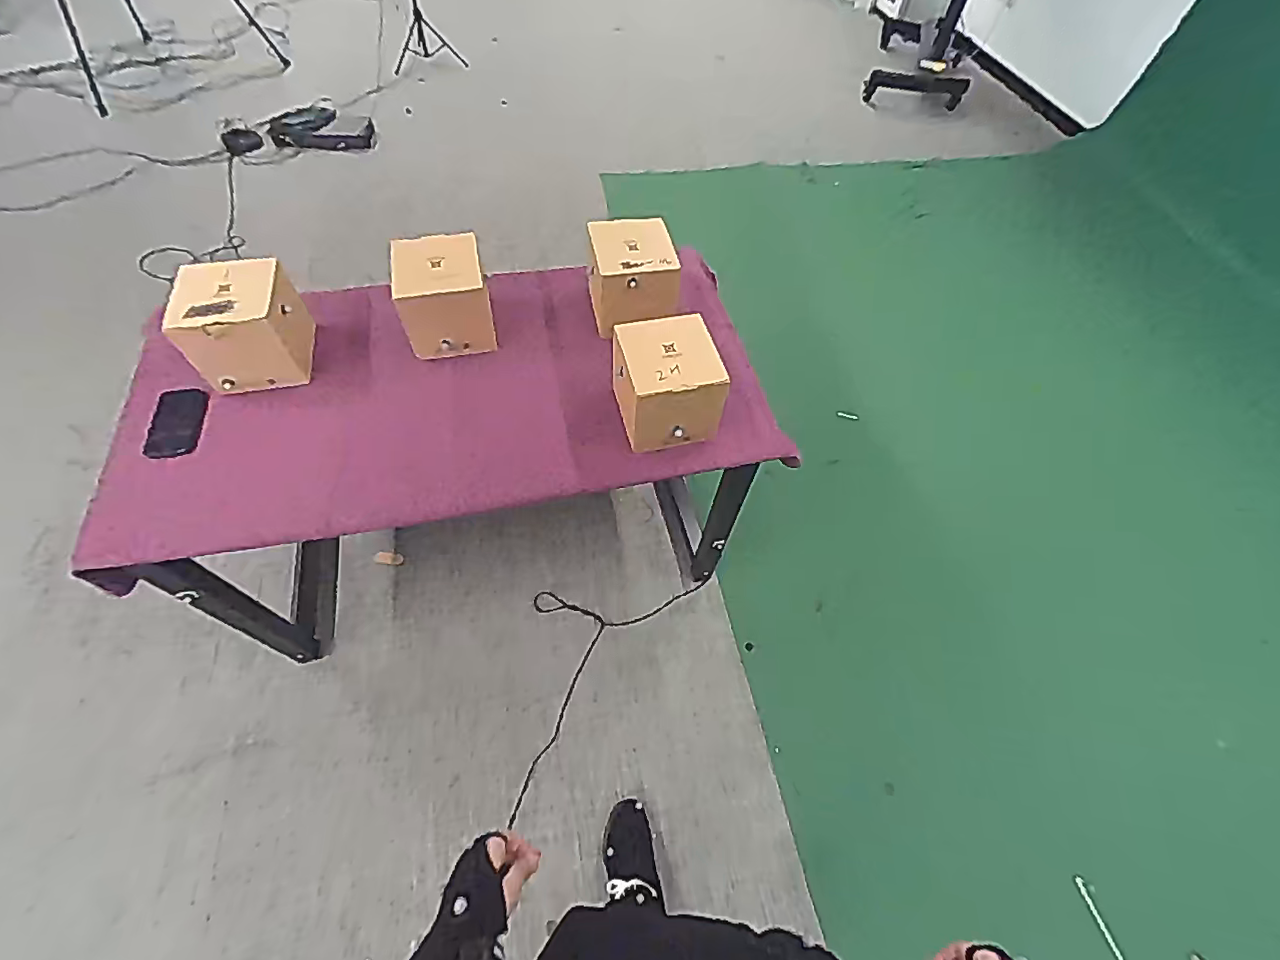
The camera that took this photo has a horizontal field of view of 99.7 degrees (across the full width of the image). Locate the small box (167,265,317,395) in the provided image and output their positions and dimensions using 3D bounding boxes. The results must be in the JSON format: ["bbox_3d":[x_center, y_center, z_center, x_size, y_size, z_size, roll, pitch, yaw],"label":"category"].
[{"bbox_3d":[-0.746,-0.279,1.038,0.168,0.176,0.179,-10,58,-10],"label":"small box"}]

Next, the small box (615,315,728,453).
[{"bbox_3d":[0.048,-0.177,1.012,0.168,0.176,0.179,-12,59,-9],"label":"small box"}]

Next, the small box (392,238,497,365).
[{"bbox_3d":[-0.399,-0.365,1.113,0.168,0.176,0.179,-11,60,-9],"label":"small box"}]

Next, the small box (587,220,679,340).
[{"bbox_3d":[-0.020,-0.432,1.174,0.168,0.176,0.179,-9,58,-8],"label":"small box"}]
